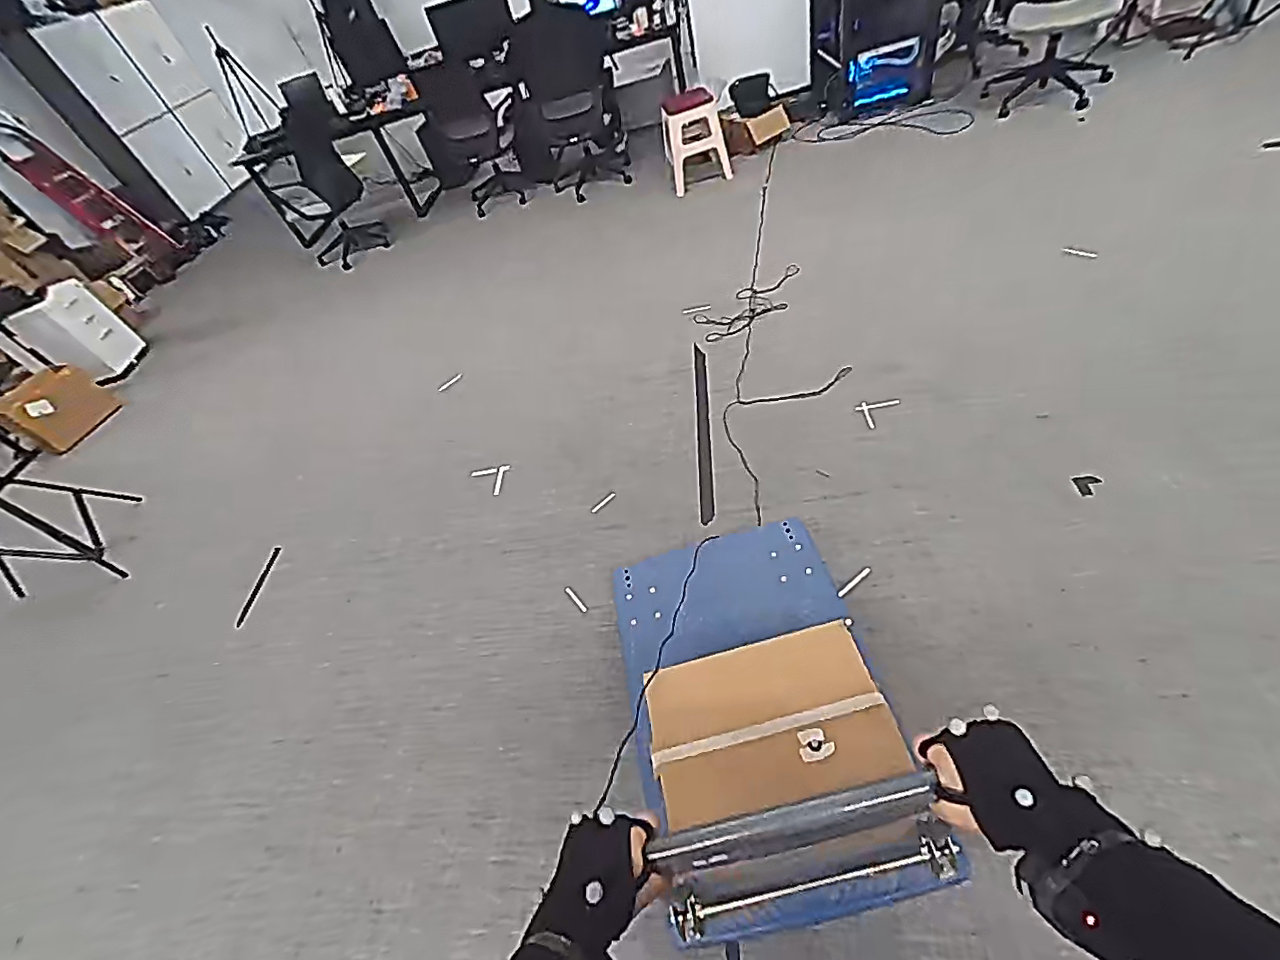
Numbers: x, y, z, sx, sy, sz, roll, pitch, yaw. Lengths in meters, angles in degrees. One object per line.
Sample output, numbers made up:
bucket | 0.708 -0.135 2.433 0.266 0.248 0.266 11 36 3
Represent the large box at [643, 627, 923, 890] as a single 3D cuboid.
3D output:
large box | 0.252 0.539 1.039 0.408 0.320 0.320 -16 46 3
